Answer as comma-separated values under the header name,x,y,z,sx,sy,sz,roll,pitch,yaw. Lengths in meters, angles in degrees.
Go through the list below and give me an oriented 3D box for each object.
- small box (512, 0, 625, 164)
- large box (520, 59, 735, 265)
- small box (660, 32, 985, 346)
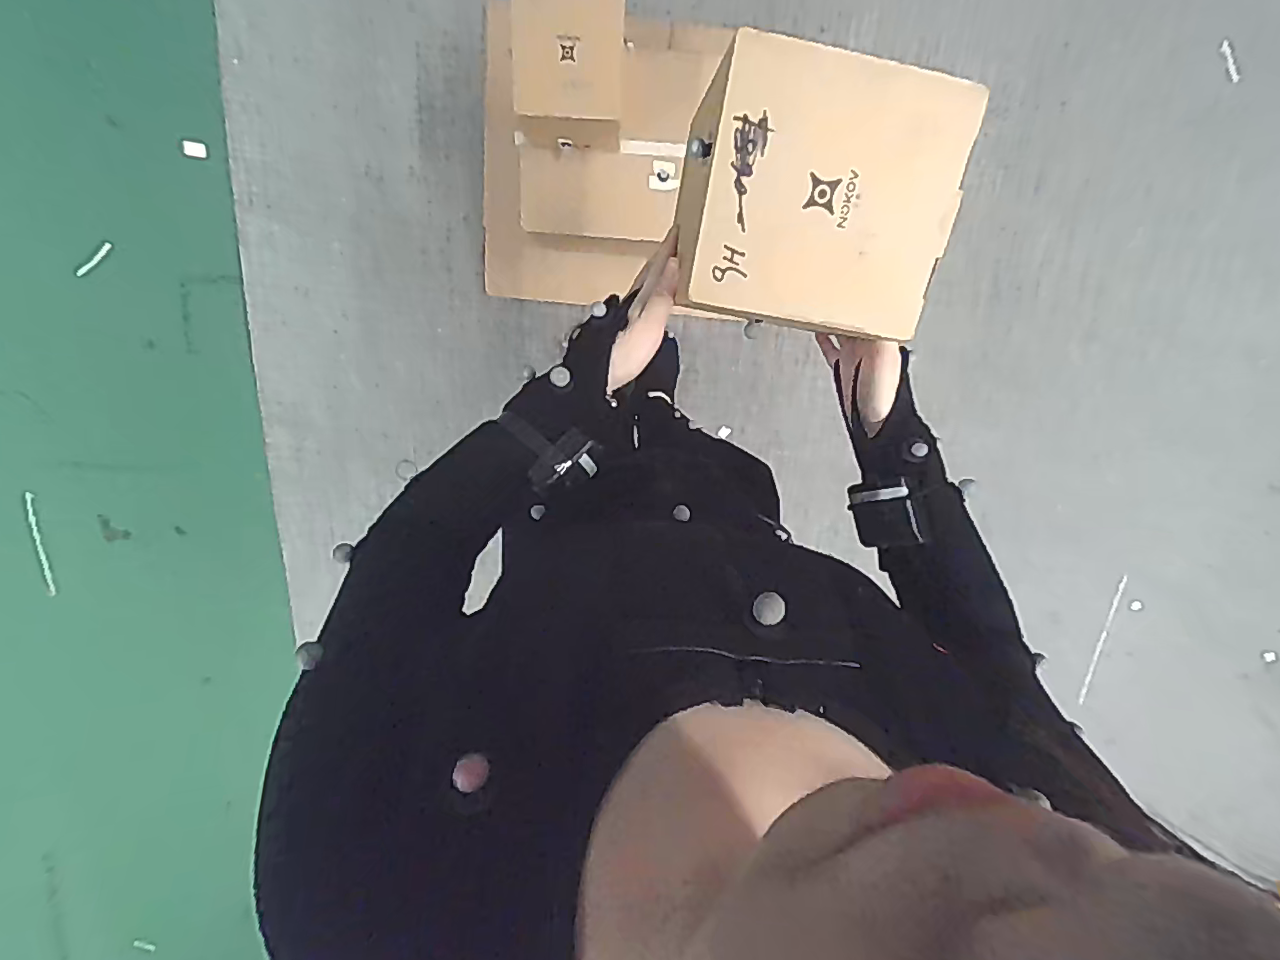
name,x,y,z,sx,sy,sz,roll,pitch,yaw
small box,-0.111,-0.639,0.878,0.168,0.176,0.179,1,106,-2
large box,-0.029,-0.635,1.136,0.408,0.320,0.320,2,107,-4
small box,0.125,-0.213,0.446,0.179,0.176,0.168,9,105,-8
